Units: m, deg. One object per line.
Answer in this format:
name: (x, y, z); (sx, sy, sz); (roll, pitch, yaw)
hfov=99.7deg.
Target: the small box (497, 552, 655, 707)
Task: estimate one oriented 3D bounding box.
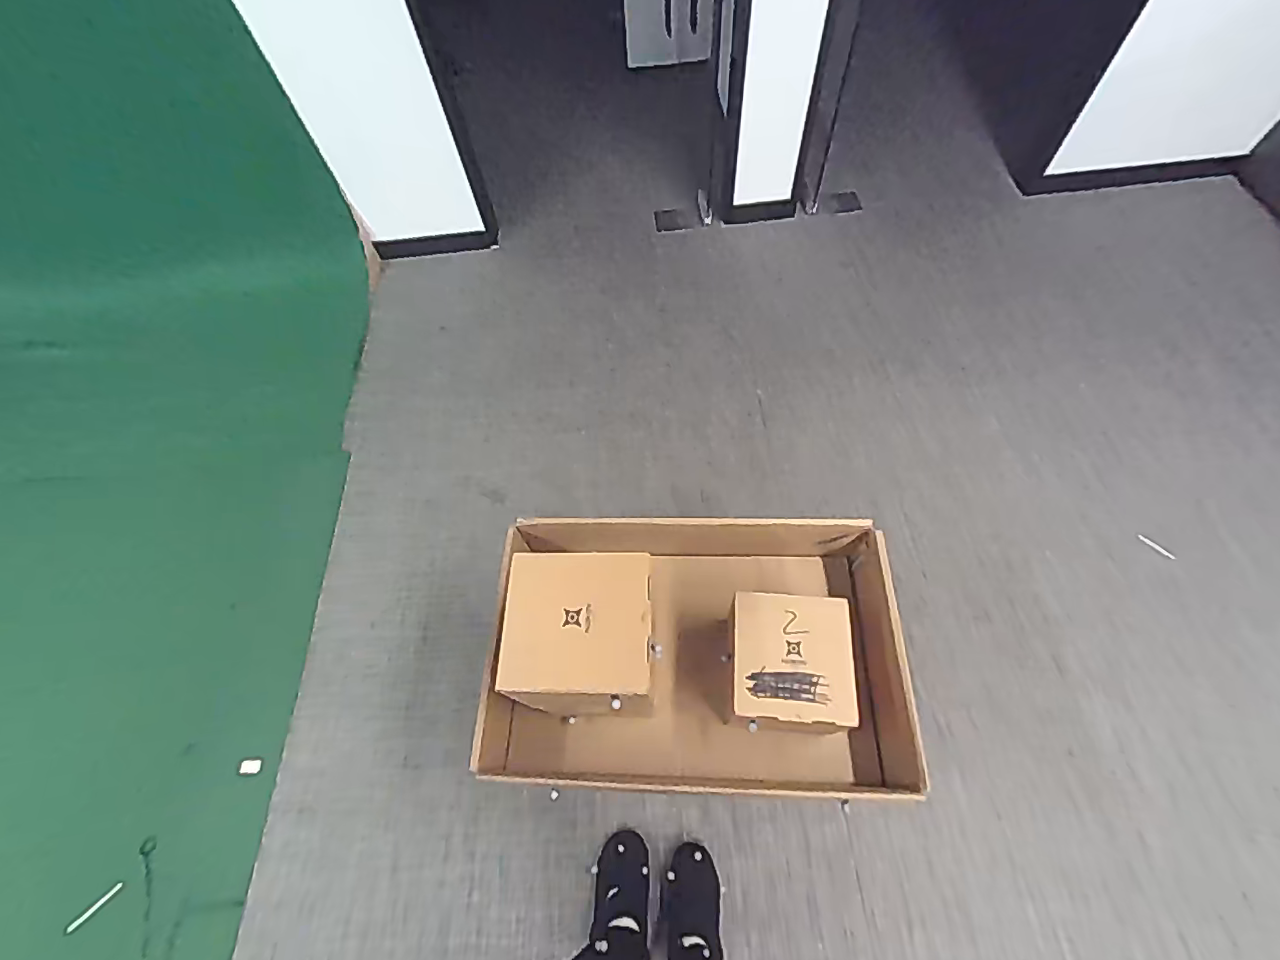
small box: (-0.070, 0.202, 0.711); (0.179, 0.176, 0.168); (0, 62, 2)
